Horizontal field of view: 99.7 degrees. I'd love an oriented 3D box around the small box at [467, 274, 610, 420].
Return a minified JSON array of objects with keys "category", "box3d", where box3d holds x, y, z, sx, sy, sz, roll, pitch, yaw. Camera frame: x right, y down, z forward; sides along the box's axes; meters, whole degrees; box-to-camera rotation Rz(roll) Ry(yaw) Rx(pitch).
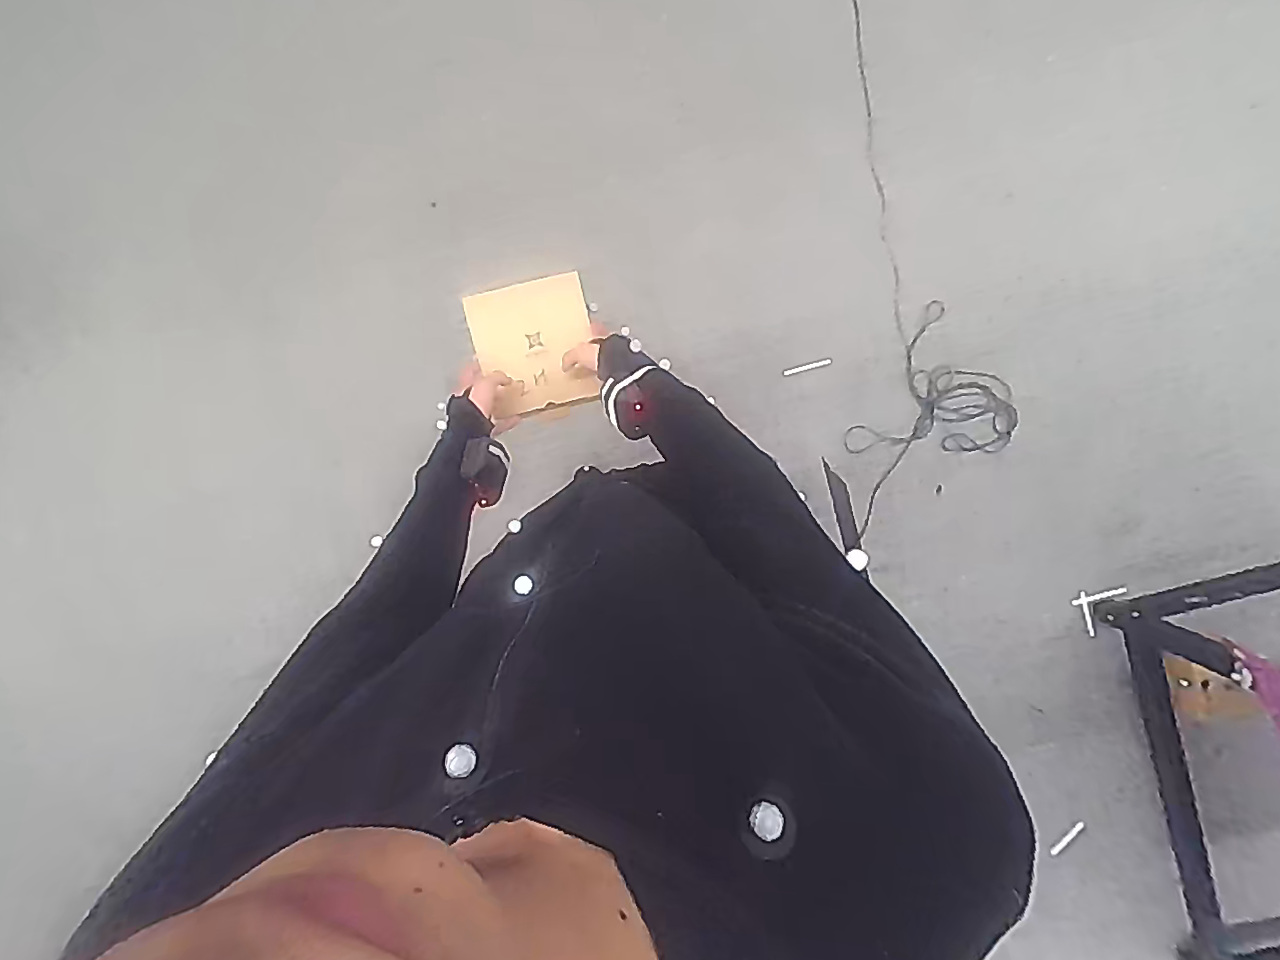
[{"category":"small box","box3d":[-0.145,-0.192,0.830,0.168,0.176,0.179,-14,98,-1]}]
